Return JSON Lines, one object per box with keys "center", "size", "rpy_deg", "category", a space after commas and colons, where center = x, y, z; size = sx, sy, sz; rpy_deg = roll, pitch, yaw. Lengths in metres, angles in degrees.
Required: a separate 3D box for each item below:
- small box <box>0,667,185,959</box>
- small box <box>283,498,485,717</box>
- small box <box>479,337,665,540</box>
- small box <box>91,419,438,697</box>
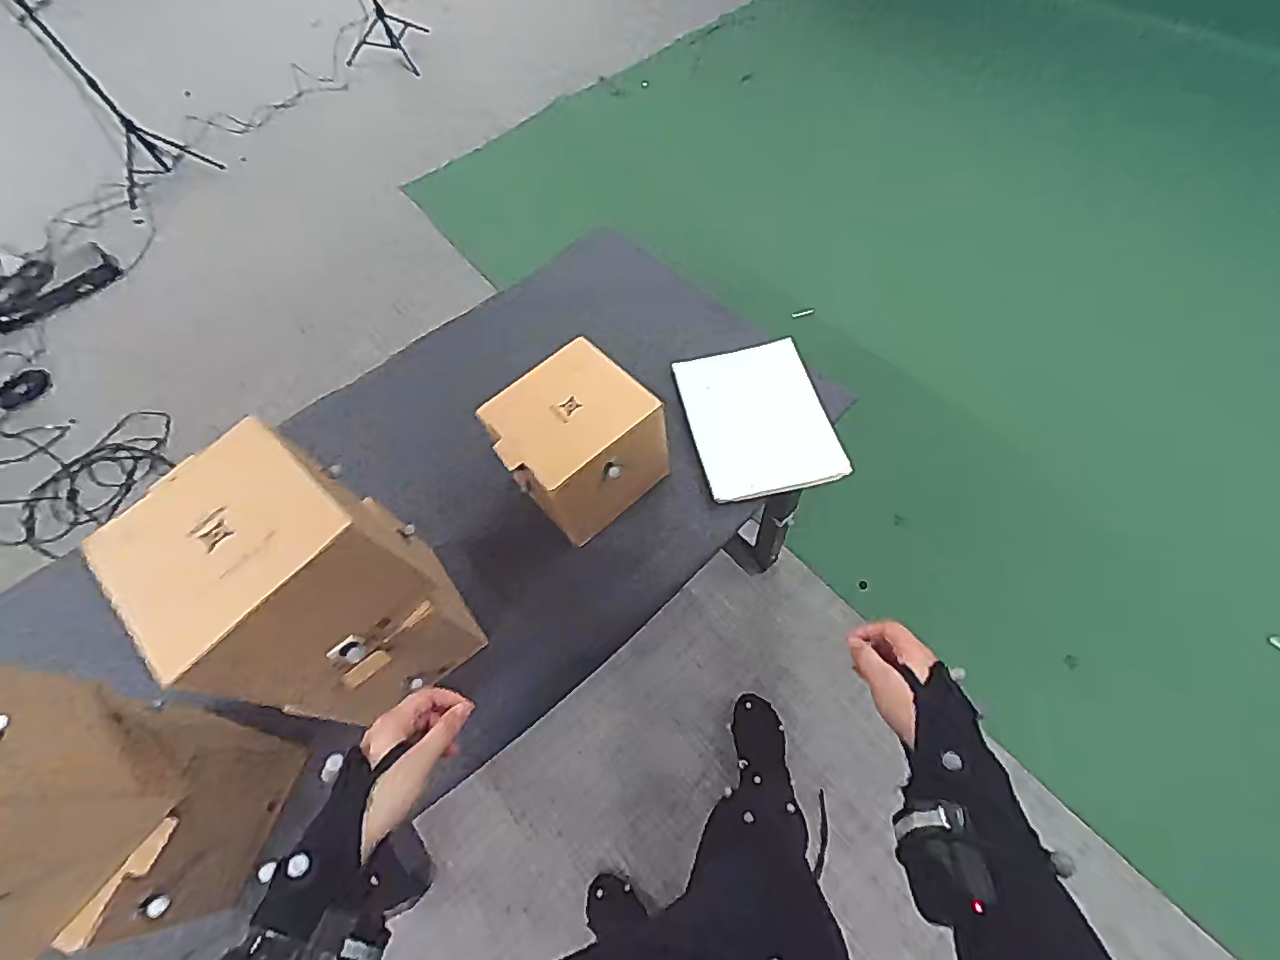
{"center": [-0.534, 0.273, 0.429], "size": [0.168, 0.176, 0.179], "rpy_deg": [30, 70, 20], "category": "small box"}
{"center": [-0.320, 0.160, 0.652], "size": [0.168, 0.176, 0.179], "rpy_deg": [-37, 64, -12], "category": "small box"}
{"center": [-0.080, -0.051, 0.738], "size": [0.179, 0.176, 0.168], "rpy_deg": [-40, 64, -14], "category": "small box"}
{"center": [-0.332, 0.082, 0.510], "size": [0.179, 0.176, 0.168], "rpy_deg": [36, 72, 22], "category": "small box"}
